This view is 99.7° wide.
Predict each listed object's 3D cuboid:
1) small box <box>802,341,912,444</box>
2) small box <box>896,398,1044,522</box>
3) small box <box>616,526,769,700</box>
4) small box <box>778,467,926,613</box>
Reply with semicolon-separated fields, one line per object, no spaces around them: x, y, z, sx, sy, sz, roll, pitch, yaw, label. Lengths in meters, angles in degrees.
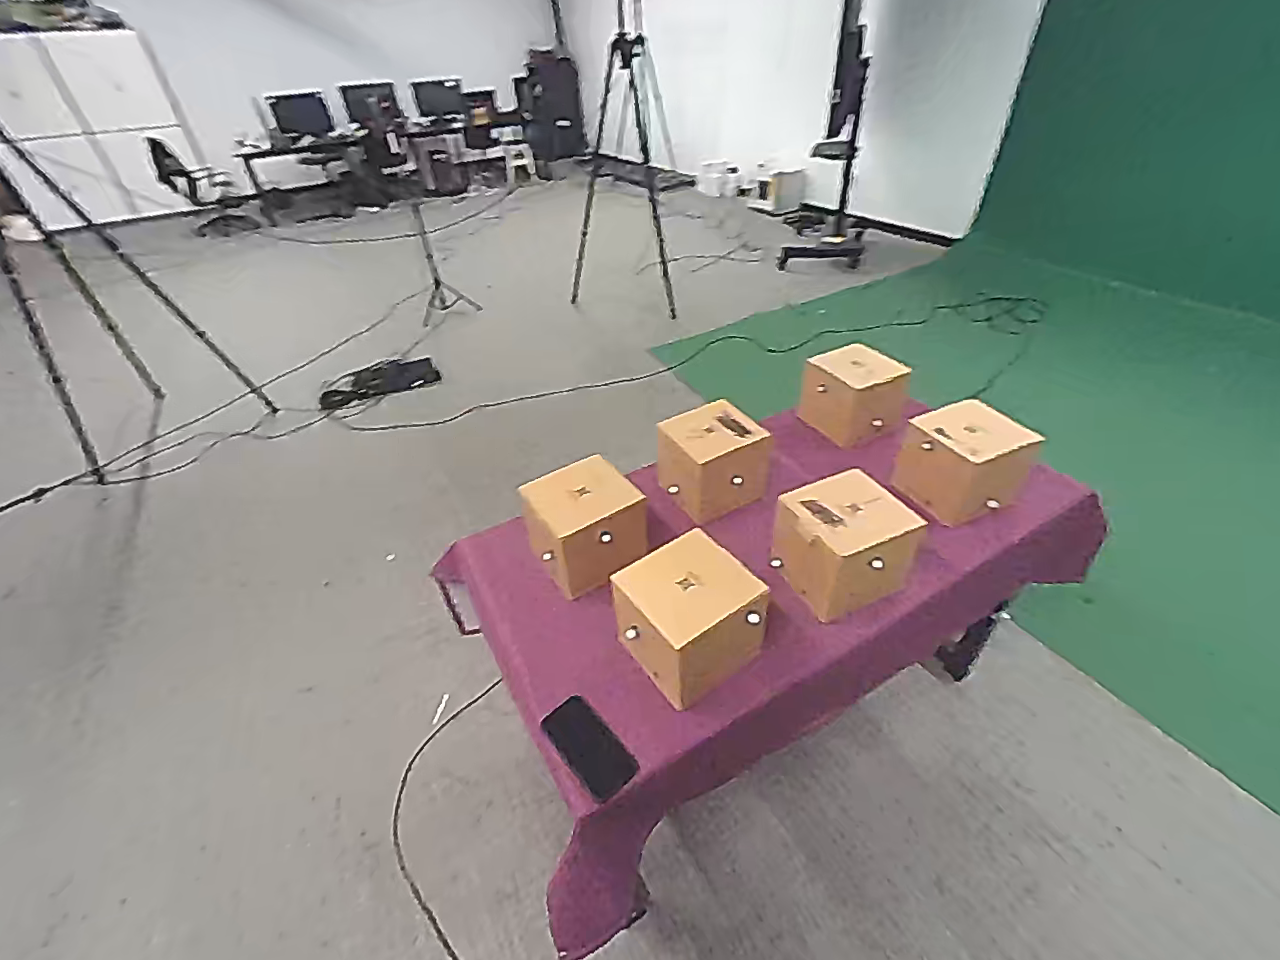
0.524;-0.216;1.332;0.168;0.176;0.179;-20;43;-18;small box
0.665;-0.041;1.113;0.179;0.176;0.168;-17;41;-16;small box
0.082;0.211;0.860;0.179;0.176;0.168;-26;44;-26;small box
0.361;0.107;0.960;0.179;0.176;0.168;-17;42;-17;small box
